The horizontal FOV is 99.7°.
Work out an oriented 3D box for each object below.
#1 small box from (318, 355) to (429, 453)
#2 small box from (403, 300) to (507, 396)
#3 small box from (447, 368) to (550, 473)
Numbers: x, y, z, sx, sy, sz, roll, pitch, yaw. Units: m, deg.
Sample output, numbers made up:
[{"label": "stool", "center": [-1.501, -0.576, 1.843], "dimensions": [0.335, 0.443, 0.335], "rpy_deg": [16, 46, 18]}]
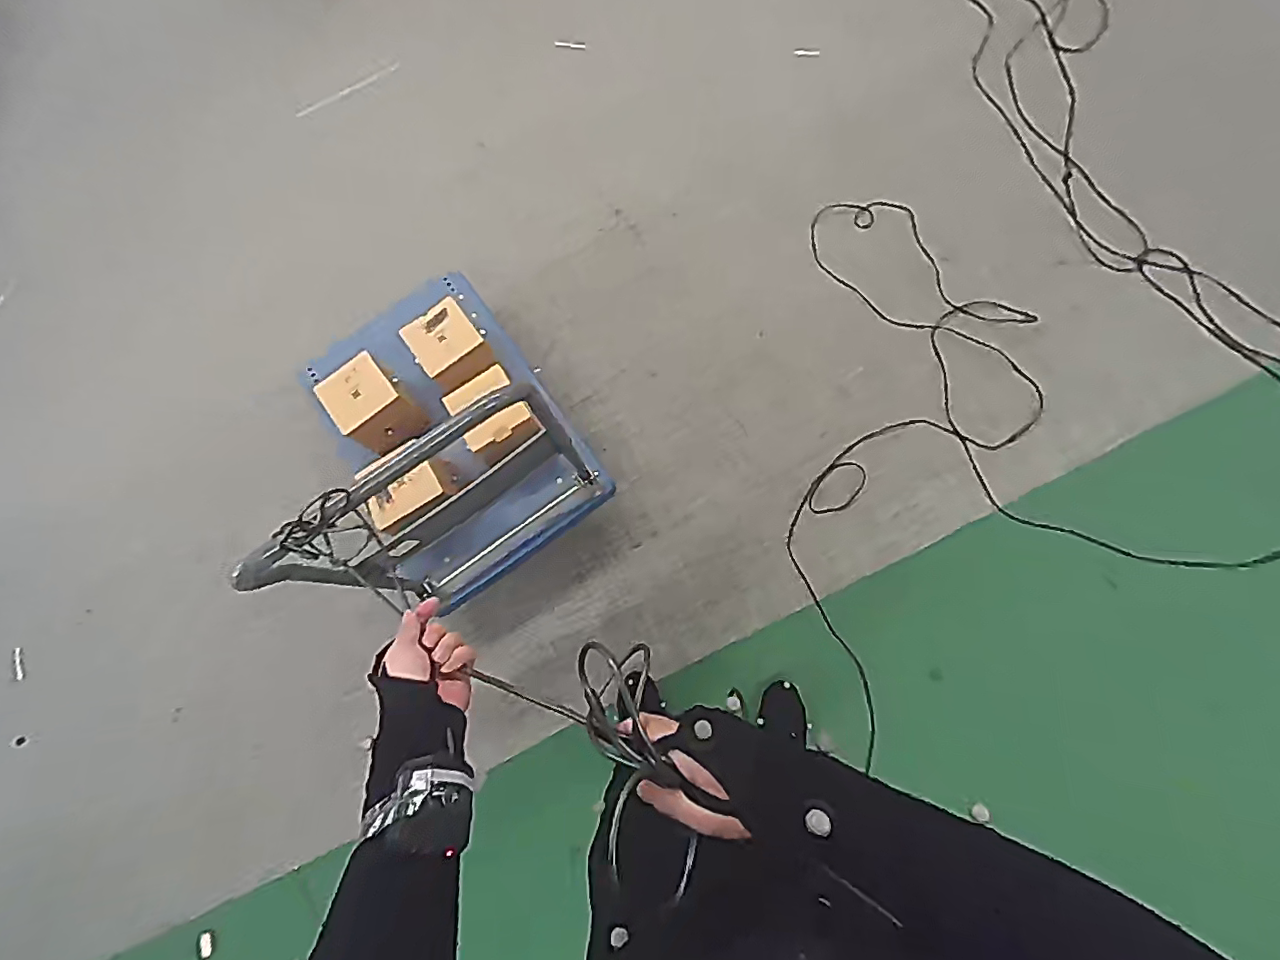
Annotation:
[{"label": "small box", "center": [-0.700, -0.191, 1.440], "dimensions": [0.168, 0.176, 0.179], "rpy_deg": [-38, 73, -5]}, {"label": "small box", "center": [-0.491, -0.338, 1.455], "dimensions": [0.168, 0.176, 0.179], "rpy_deg": [-37, 74, -3]}, {"label": "small box", "center": [-0.357, -0.146, 1.385], "dimensions": [0.168, 0.176, 0.179], "rpy_deg": [-34, 73, -3]}]
